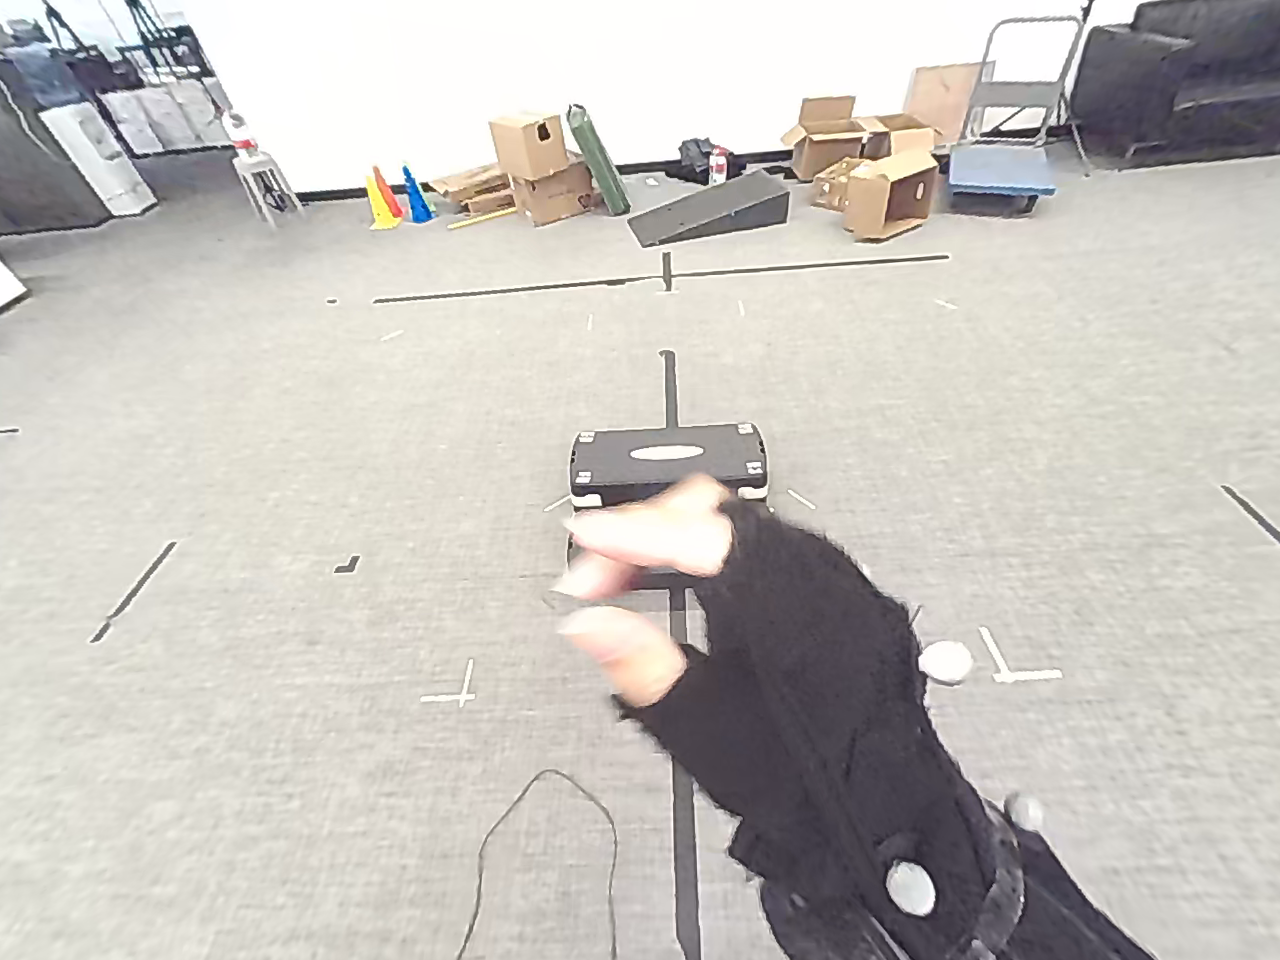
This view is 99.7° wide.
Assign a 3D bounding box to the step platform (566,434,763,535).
[{"bbox_3d":[0.081,0.011,1.899,0.684,0.204,0.286,-3,46,2],"label":"step platform"}]
